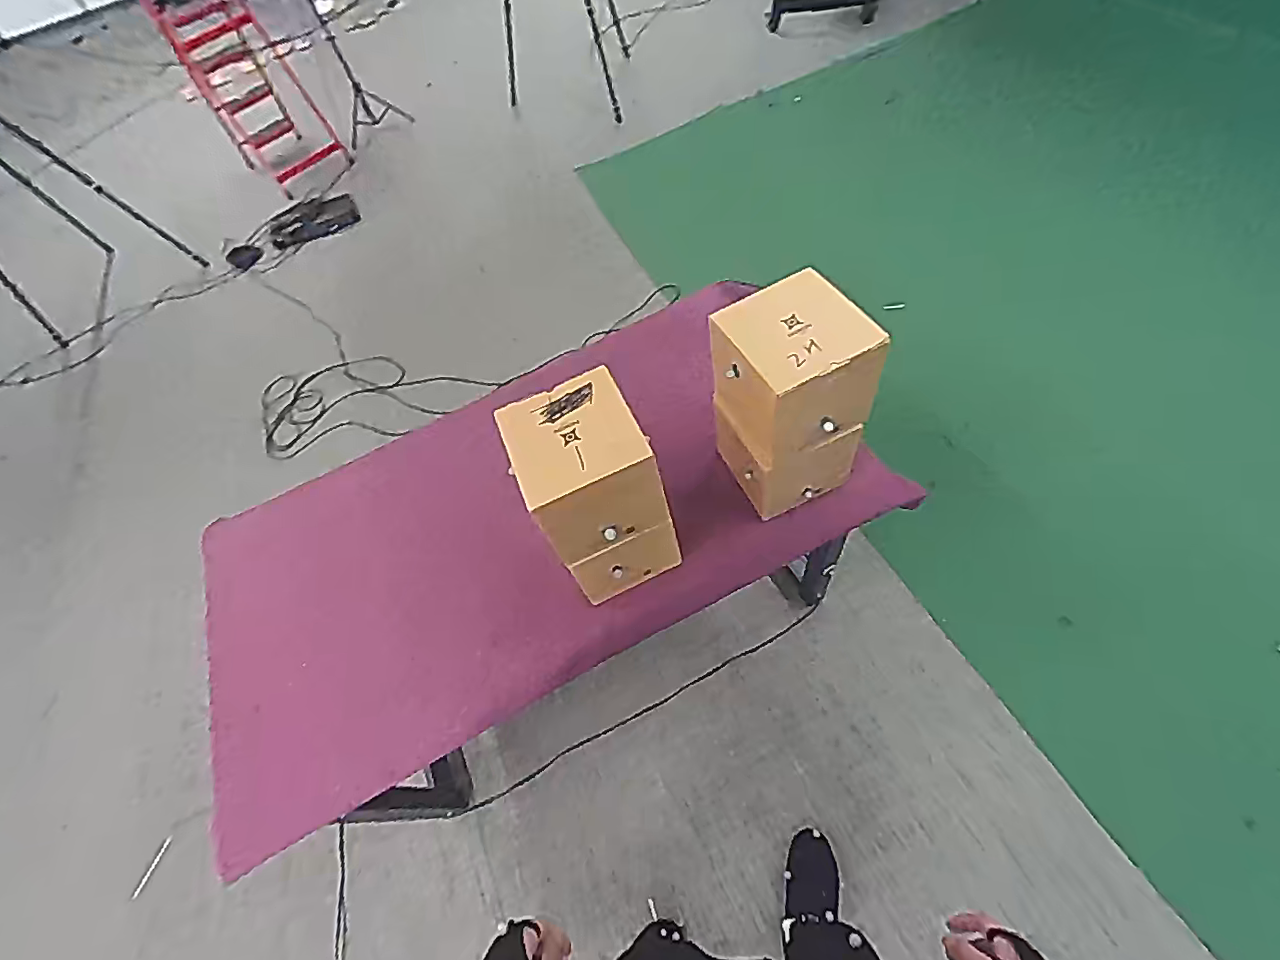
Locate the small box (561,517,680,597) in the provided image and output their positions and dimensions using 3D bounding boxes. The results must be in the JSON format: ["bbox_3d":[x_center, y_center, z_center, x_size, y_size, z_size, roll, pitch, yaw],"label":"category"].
[{"bbox_3d":[-0.045,0.073,0.887,0.168,0.176,0.179,-25,56,-4],"label":"small box"}]

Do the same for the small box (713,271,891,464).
[{"bbox_3d":[0.220,-0.156,0.776,0.168,0.176,0.179,-26,58,-4],"label":"small box"}]

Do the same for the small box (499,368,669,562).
[{"bbox_3d":[-0.073,-0.016,0.751,0.168,0.176,0.179,-24,57,-4],"label":"small box"}]
